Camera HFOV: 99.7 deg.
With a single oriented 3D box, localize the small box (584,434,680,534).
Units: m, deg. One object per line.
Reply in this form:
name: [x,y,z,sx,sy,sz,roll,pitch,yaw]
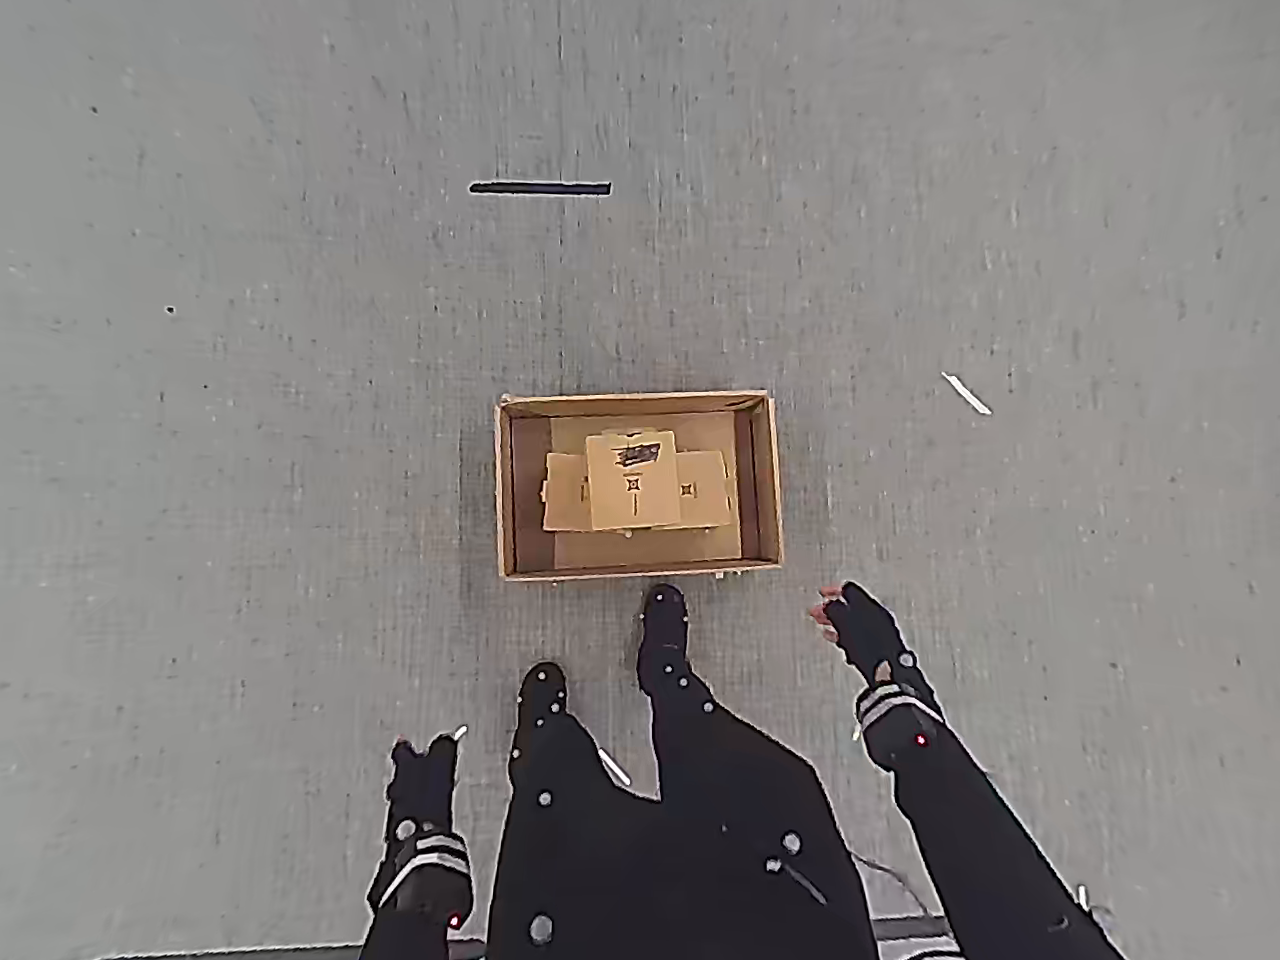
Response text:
small box: [-0.023,0.013,1.065,0.168,0.176,0.179,-4,85,-7]
